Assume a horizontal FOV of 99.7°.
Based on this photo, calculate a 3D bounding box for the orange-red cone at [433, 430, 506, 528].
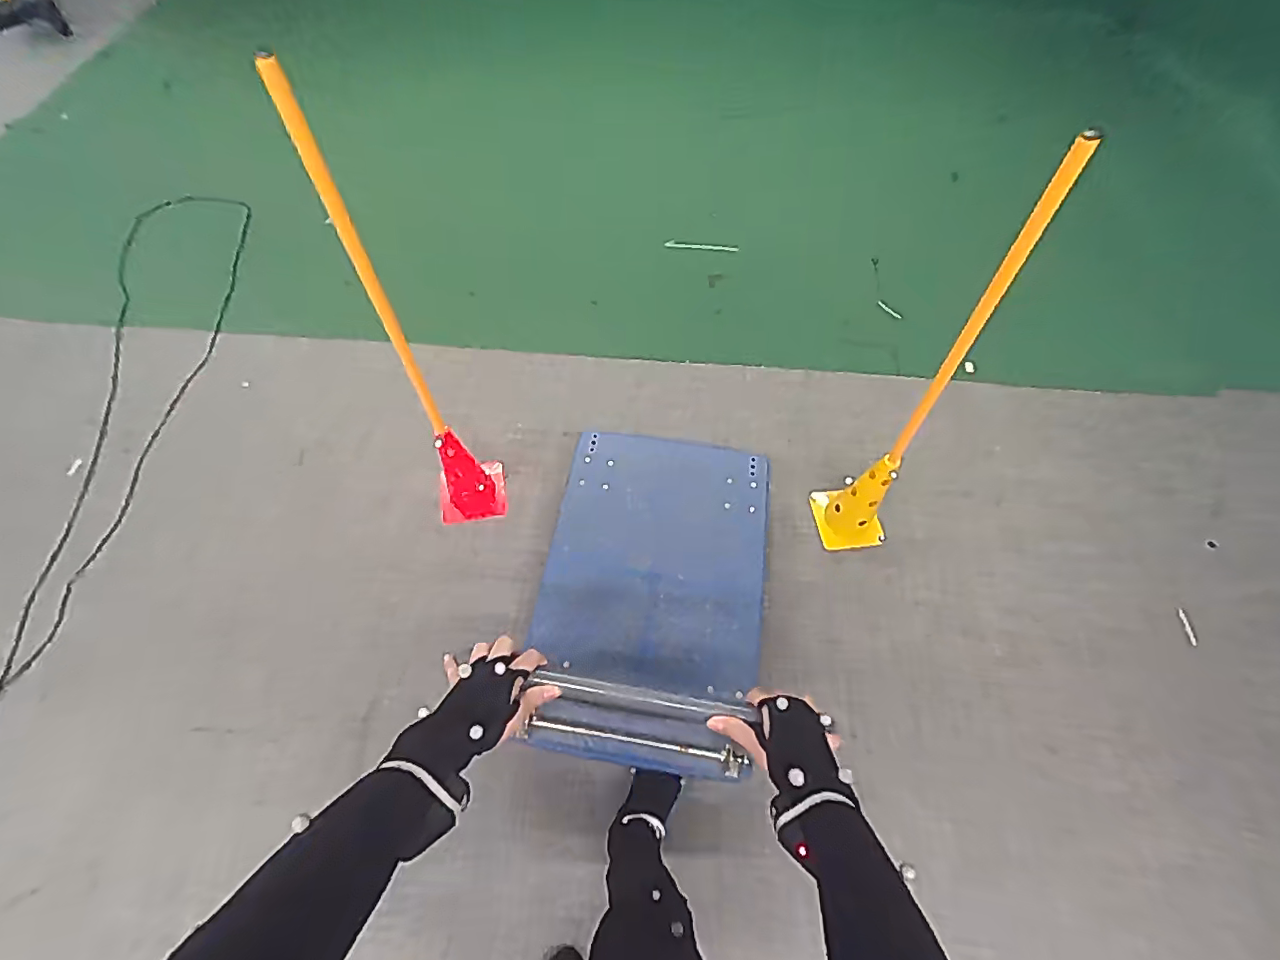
[{"bbox_3d":[-0.528,-0.029,1.571,0.199,0.360,0.198,-9,61,-5],"label":"orange-red cone"}]
